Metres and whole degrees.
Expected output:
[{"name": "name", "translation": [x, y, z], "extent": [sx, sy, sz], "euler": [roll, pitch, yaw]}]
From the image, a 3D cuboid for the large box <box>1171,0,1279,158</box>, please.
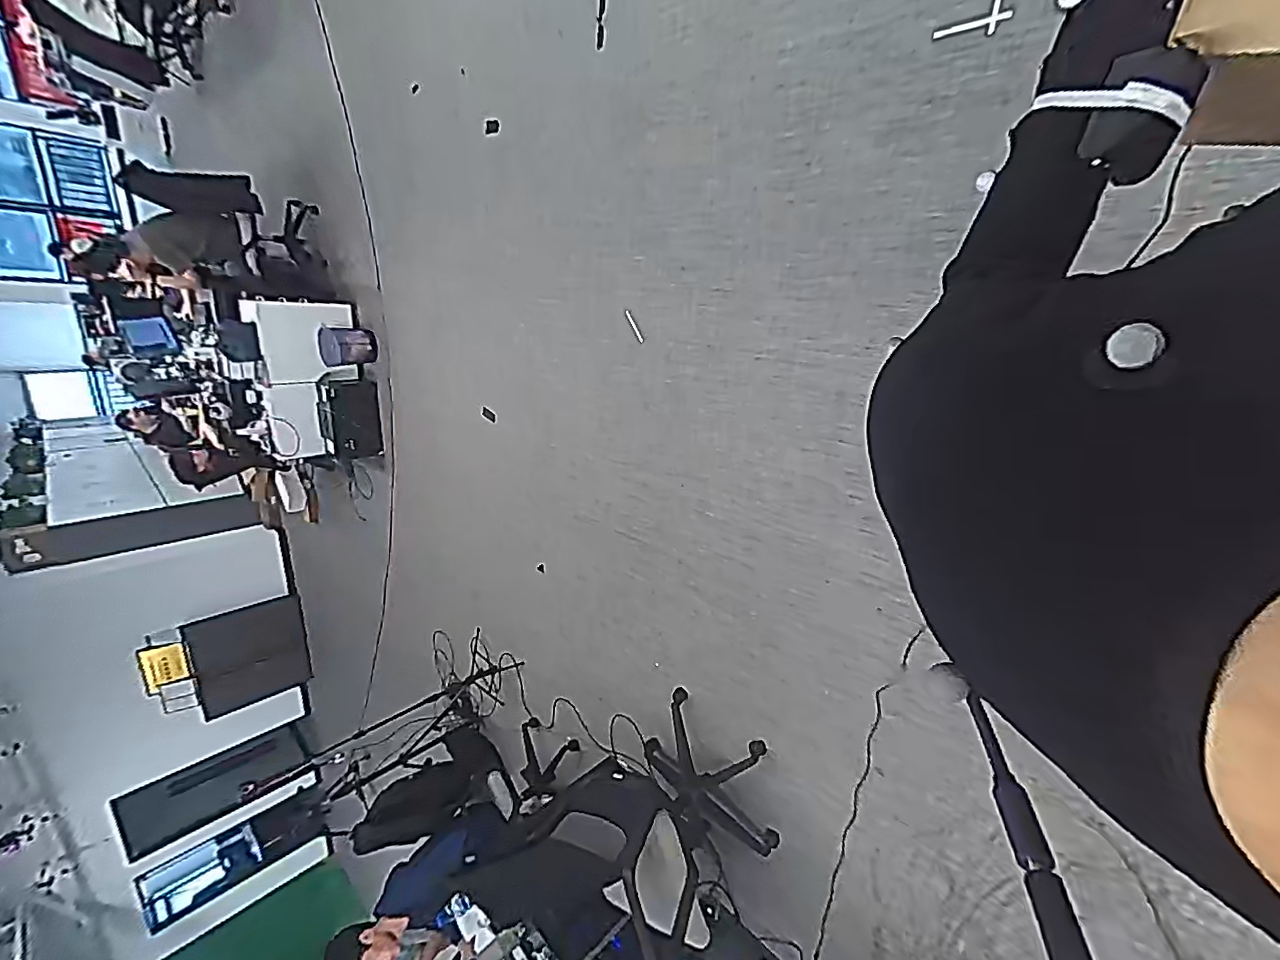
[{"name": "large box", "translation": [0.607, -0.373, 0.282], "extent": [0.408, 0.320, 0.320], "euler": [27, 122, 36]}]
